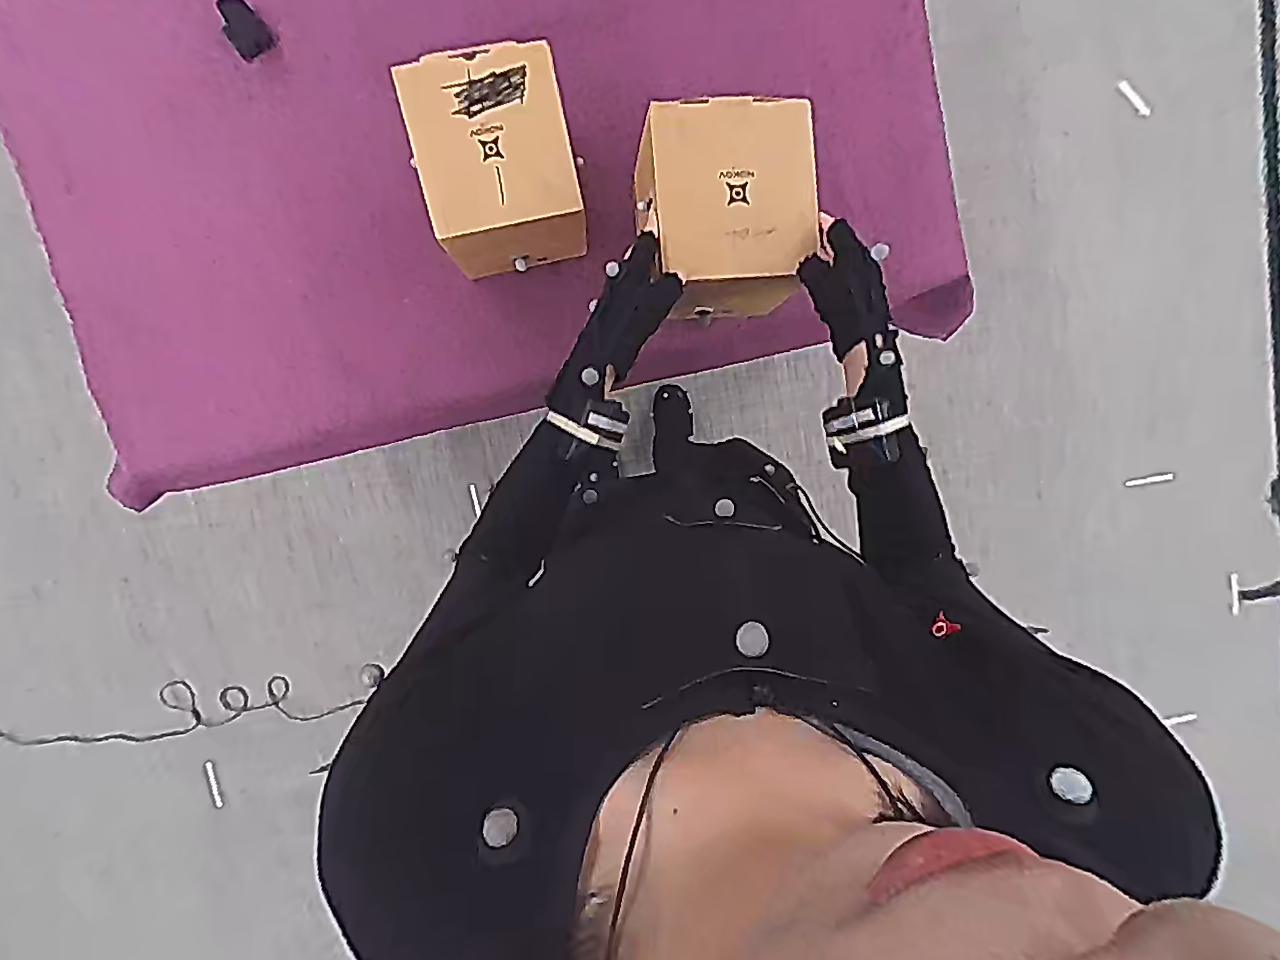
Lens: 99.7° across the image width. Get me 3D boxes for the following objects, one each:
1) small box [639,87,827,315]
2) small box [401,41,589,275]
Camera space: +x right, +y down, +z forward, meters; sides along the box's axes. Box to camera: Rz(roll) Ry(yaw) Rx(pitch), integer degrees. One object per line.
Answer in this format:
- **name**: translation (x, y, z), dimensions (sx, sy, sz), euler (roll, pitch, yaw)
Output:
- **small box**: translation (0.093, -0.302, 0.616), dimensions (0.168, 0.176, 0.179), euler (-6, 94, -5)
- **small box**: translation (-0.160, -0.370, 0.651), dimensions (0.168, 0.176, 0.179), euler (-13, 98, -3)
